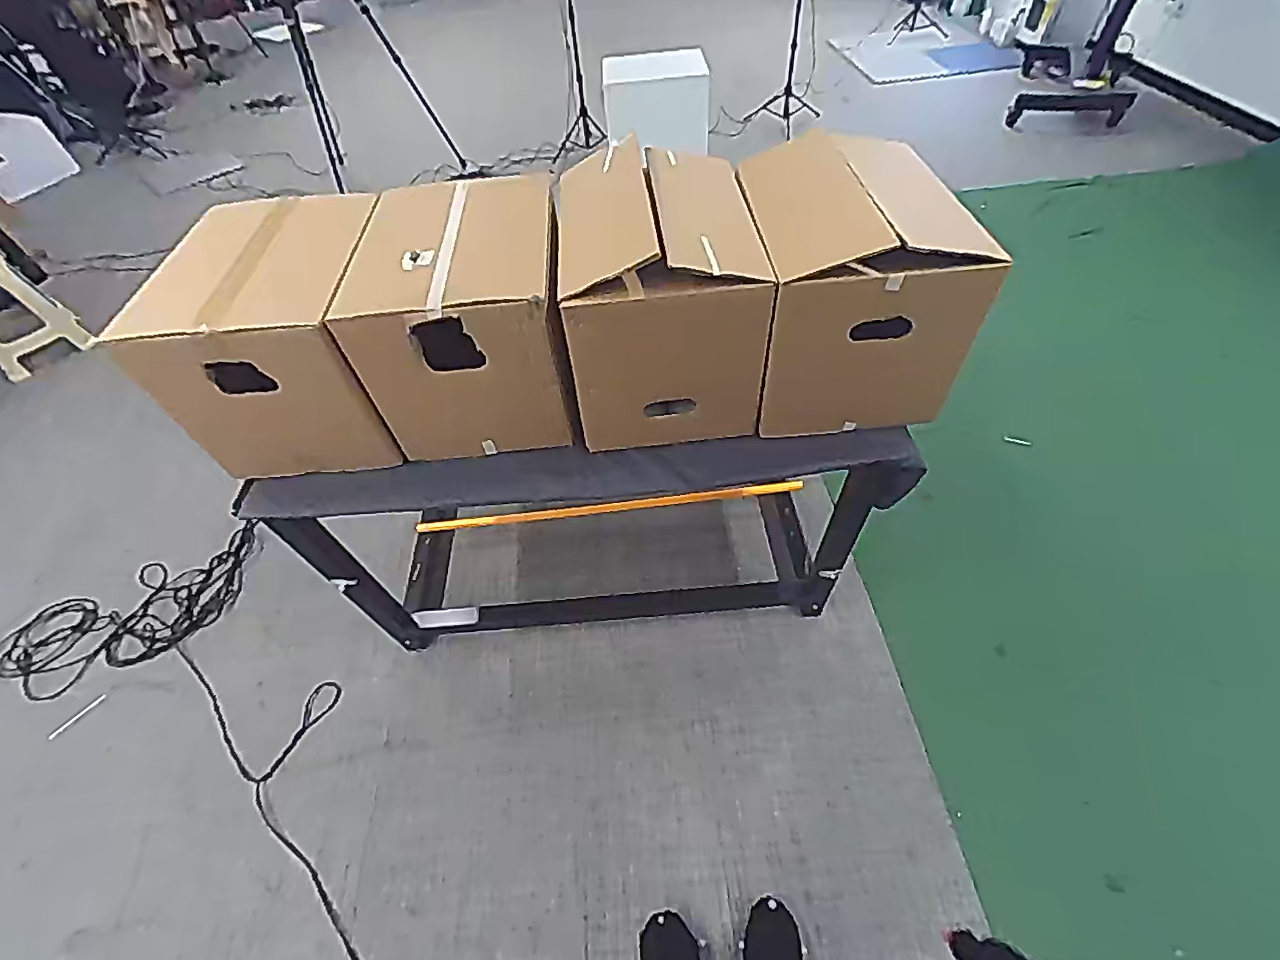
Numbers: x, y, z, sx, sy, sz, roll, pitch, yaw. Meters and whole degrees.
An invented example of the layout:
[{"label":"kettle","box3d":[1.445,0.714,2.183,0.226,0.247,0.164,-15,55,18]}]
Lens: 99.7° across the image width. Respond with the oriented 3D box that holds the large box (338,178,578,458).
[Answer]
[{"label":"large box","box3d":[-0.289,-0.300,1.002,0.320,0.320,0.408,-6,53,0]}]
